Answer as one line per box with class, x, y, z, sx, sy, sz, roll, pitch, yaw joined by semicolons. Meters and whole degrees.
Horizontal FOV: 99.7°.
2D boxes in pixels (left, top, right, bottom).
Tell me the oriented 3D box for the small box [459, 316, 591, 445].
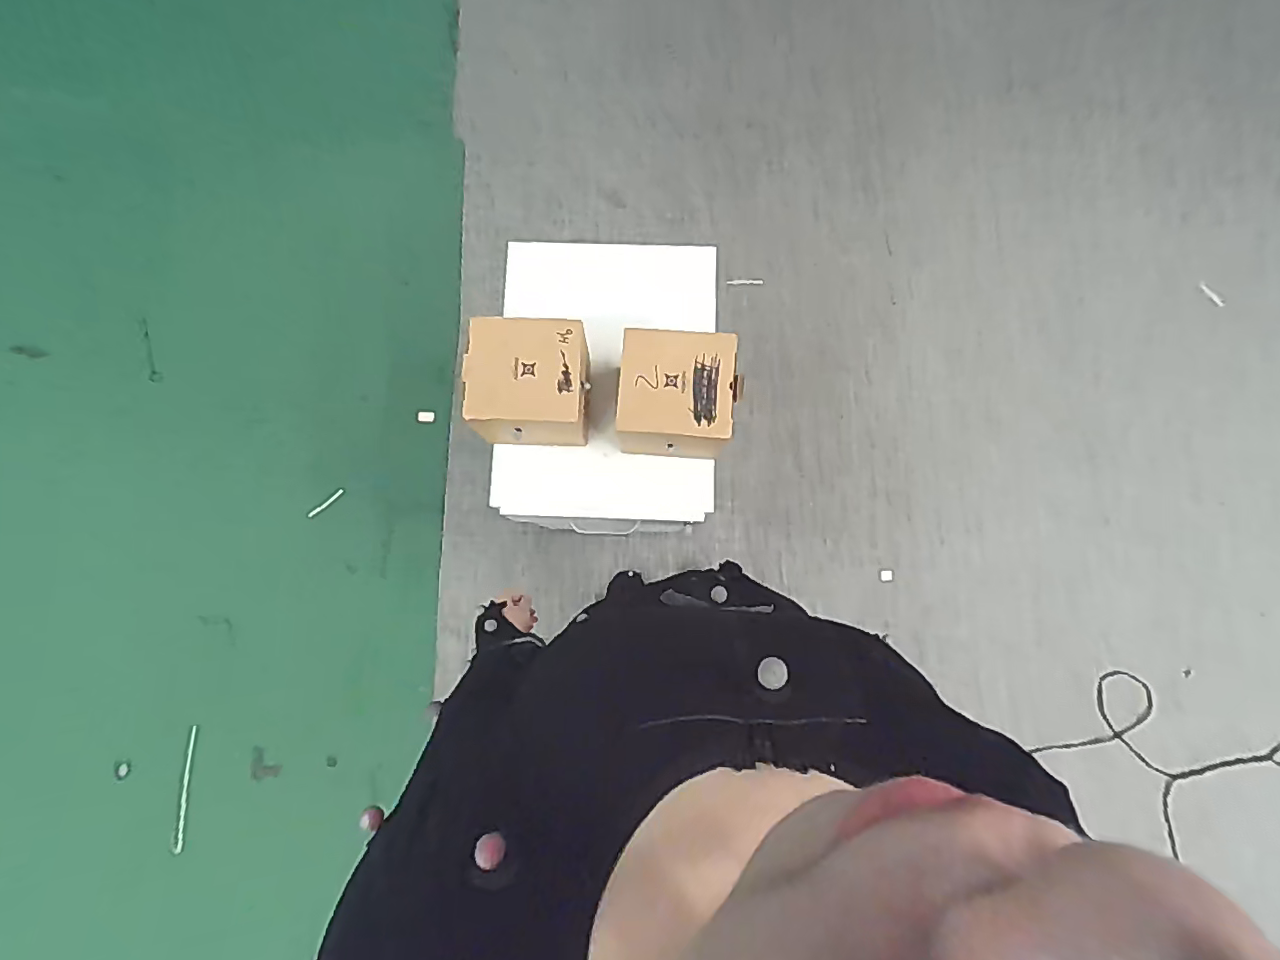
small box;-0.180;-0.156;0.894;0.179;0.176;0.168;2;81;0
